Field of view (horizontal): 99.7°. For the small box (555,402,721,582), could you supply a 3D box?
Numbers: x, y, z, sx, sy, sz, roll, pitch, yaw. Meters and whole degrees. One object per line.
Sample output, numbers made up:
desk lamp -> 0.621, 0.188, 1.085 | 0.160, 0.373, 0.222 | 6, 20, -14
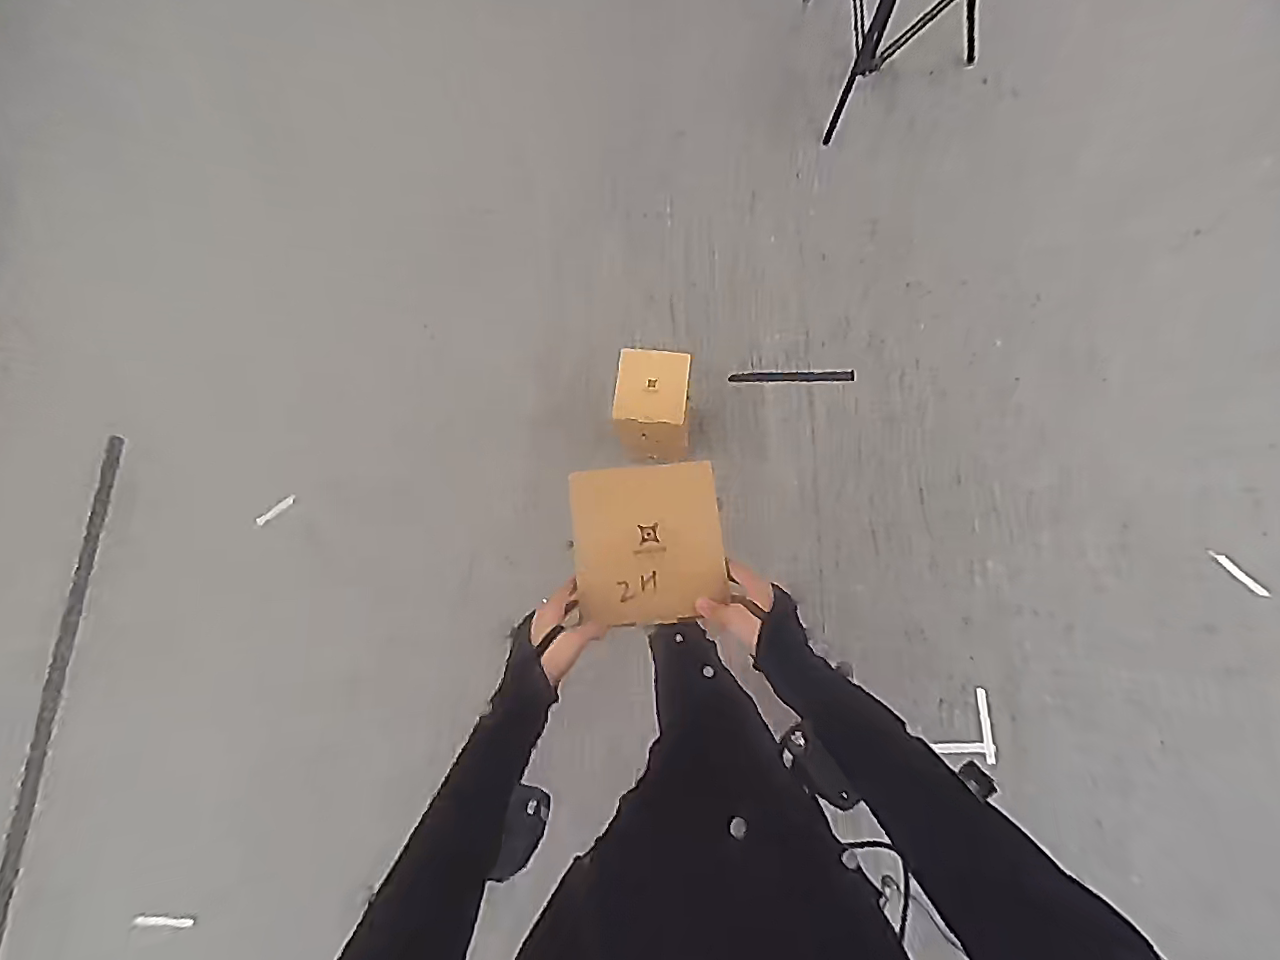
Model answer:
small box -> -0.011, 0.022, 0.641 | 0.168, 0.176, 0.179 | -5, 77, -5

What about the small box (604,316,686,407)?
small box -> 0.015, -0.260, 1.272 | 0.168, 0.176, 0.179 | 6, 79, 4
